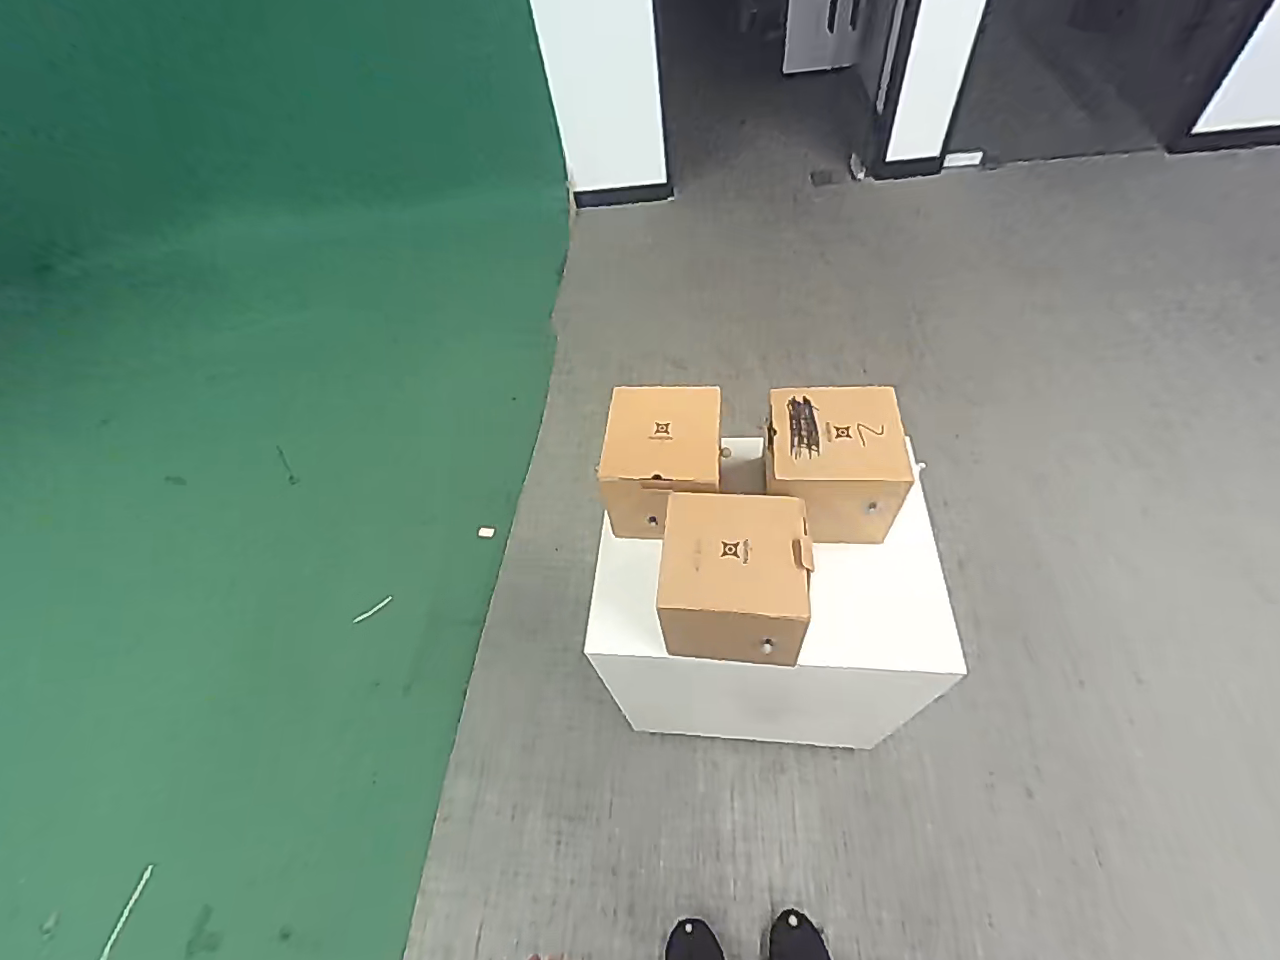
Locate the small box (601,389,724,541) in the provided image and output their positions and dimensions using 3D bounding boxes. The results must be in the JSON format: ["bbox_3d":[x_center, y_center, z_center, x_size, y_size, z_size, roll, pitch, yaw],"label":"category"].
[{"bbox_3d":[0.042,-0.020,0.840,0.168,0.176,0.179,2,56,8],"label":"small box"}]

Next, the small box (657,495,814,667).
[{"bbox_3d":[0.125,0.137,0.713,0.179,0.176,0.168,1,53,11],"label":"small box"}]
